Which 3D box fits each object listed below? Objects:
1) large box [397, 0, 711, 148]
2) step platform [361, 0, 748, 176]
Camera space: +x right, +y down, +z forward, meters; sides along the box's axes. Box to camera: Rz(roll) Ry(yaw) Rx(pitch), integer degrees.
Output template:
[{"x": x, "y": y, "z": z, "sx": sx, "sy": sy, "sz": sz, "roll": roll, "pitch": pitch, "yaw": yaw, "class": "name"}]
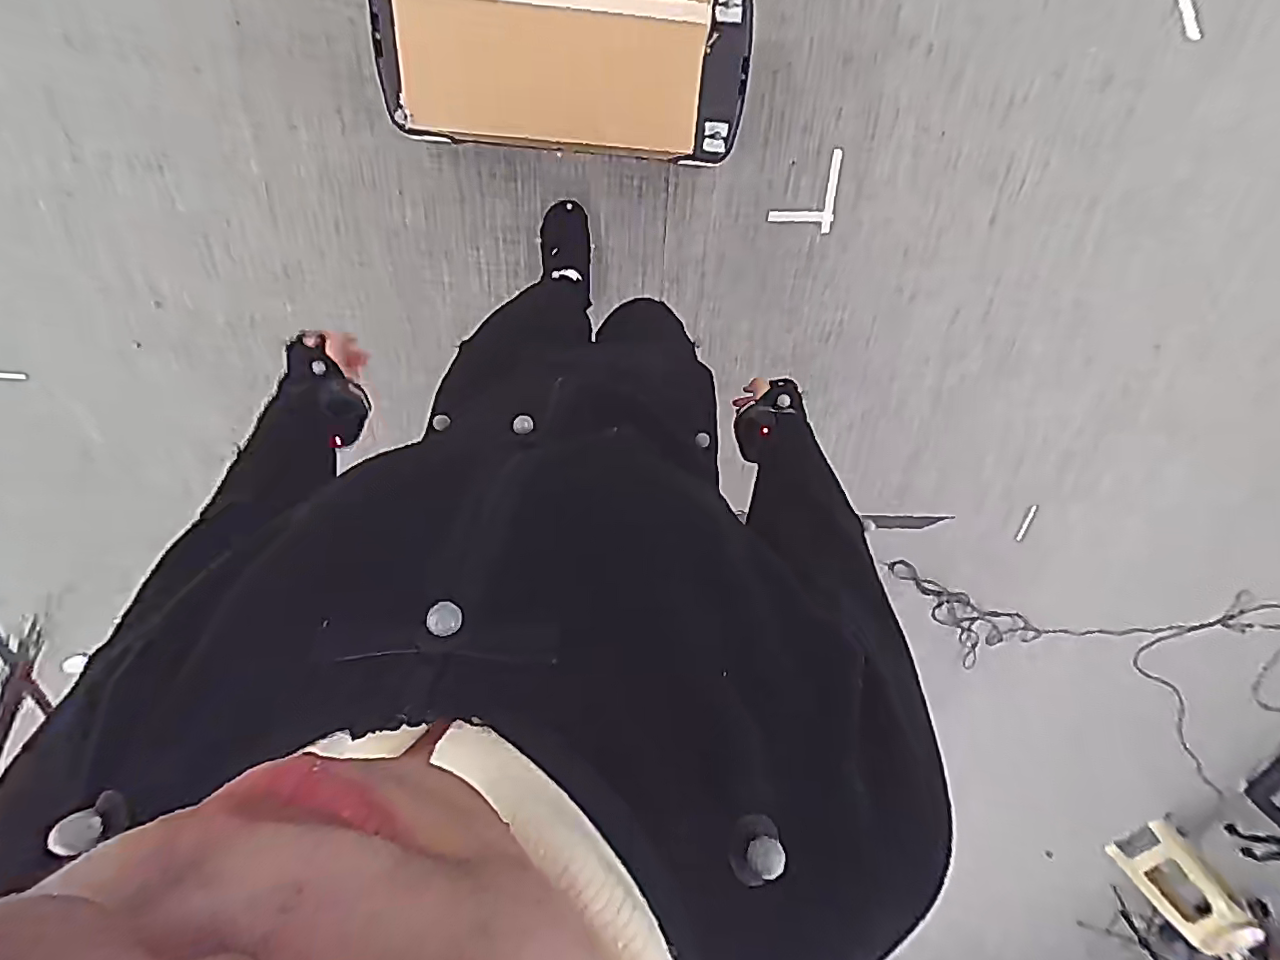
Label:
[{"x": -0.112, "y": -0.689, "z": 0.808, "sx": 0.408, "sy": 0.320, "sz": 0.320, "roll": 2, "pitch": 119, "yaw": -5, "class": "large box"}, {"x": -0.147, "y": -0.793, "z": 1.021, "sx": 0.684, "sy": 0.204, "sz": 0.286, "roll": 7, "pitch": 119, "yaw": -8, "class": "step platform"}]
